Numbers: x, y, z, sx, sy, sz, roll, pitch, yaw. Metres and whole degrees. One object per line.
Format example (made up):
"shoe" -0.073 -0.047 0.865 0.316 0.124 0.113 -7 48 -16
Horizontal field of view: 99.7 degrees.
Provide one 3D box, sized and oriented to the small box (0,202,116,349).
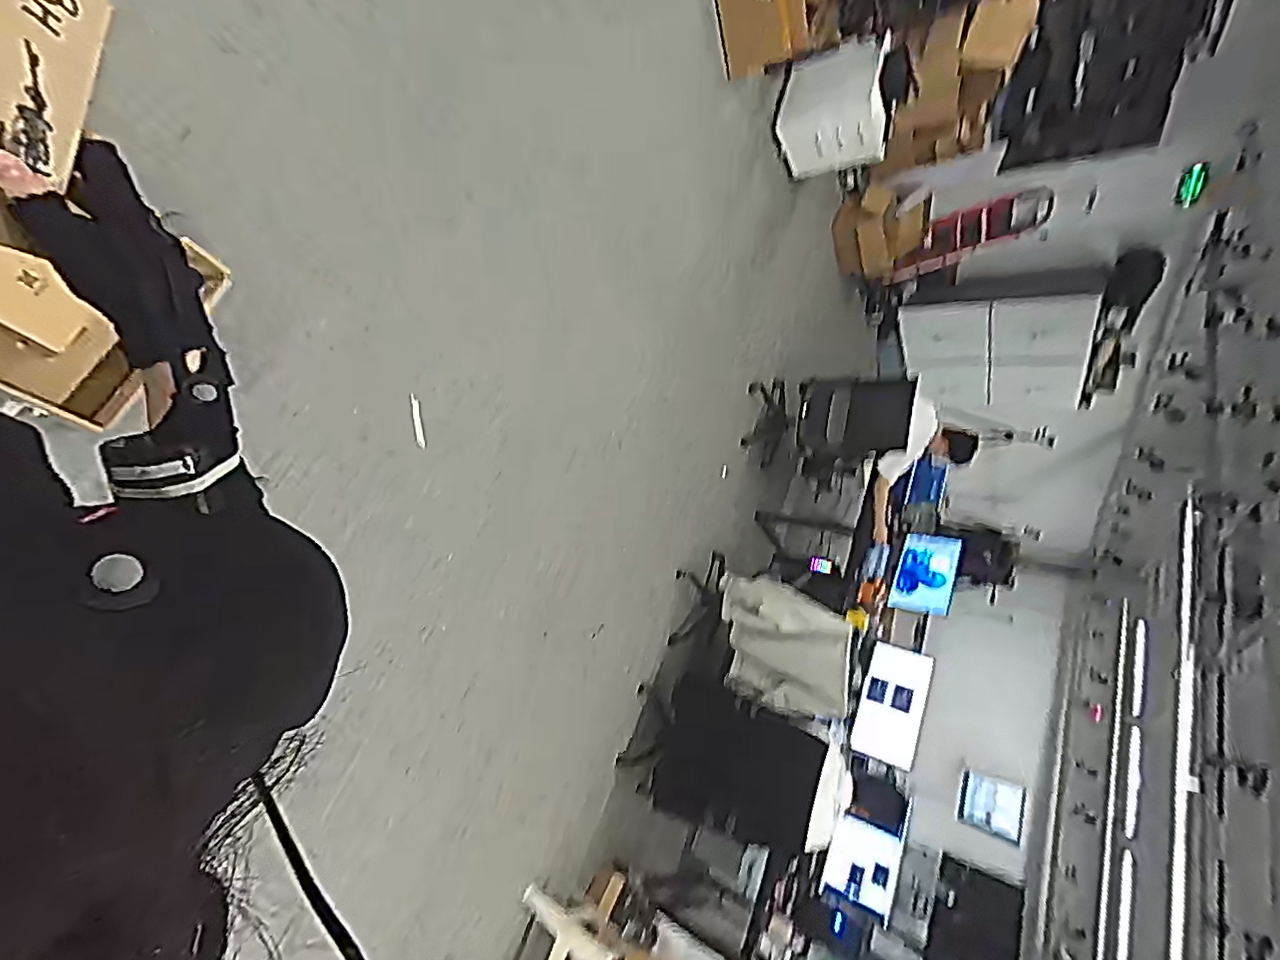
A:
"small box" -1.066 -0.340 0.920 0.179 0.176 0.168 45 60 -46
